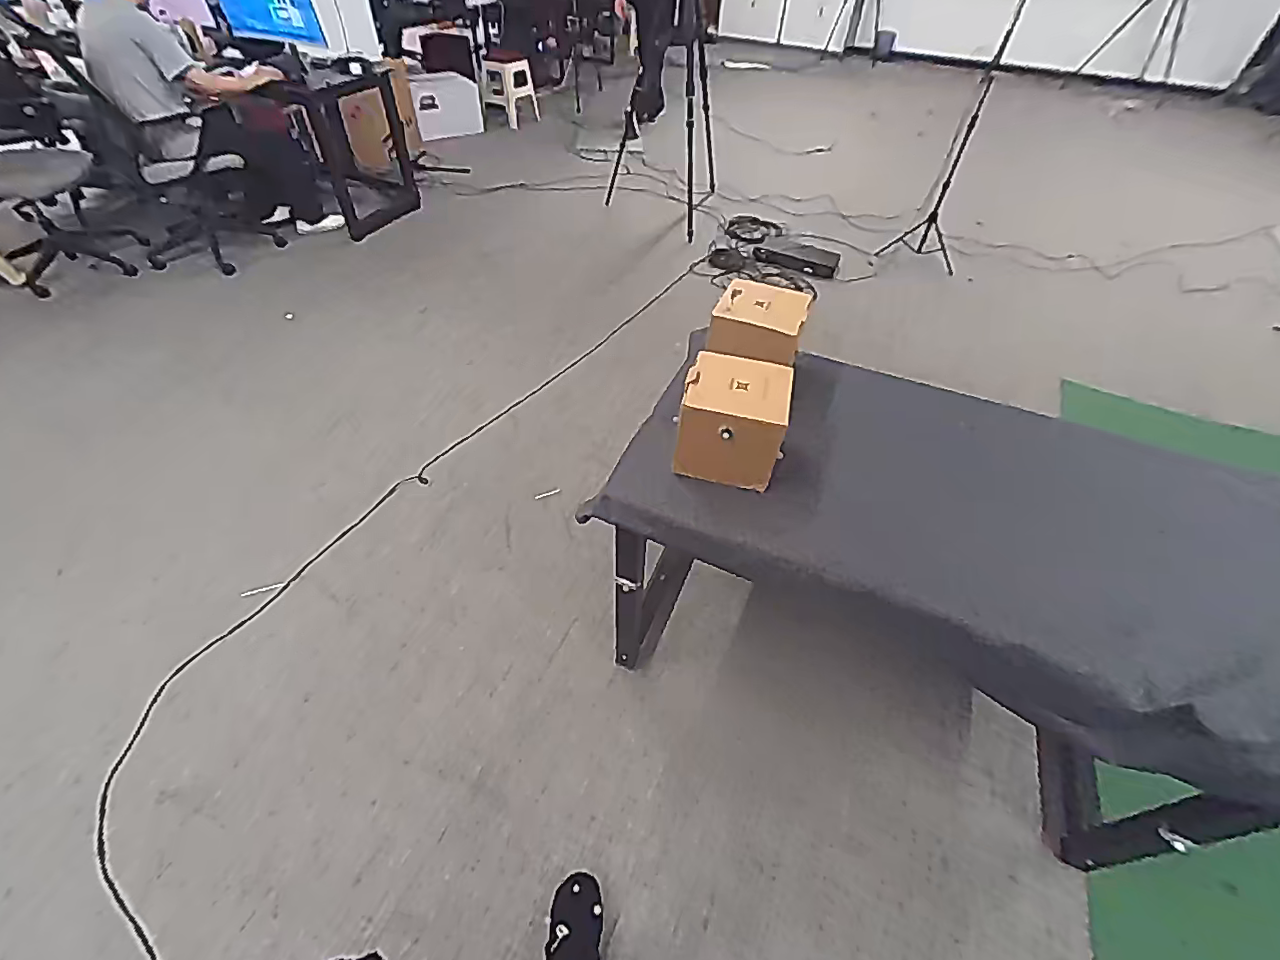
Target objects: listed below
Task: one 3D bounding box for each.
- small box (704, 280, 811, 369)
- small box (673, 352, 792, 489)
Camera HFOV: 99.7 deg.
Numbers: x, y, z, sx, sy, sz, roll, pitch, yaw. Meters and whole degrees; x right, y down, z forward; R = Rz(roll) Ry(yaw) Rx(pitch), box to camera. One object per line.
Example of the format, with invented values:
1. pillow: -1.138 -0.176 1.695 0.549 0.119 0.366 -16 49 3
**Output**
1. small box: 0.247 -0.300 1.171 0.179 0.176 0.168 20 50 13
2. small box: 0.165 -0.106 0.991 0.179 0.176 0.168 13 49 6
